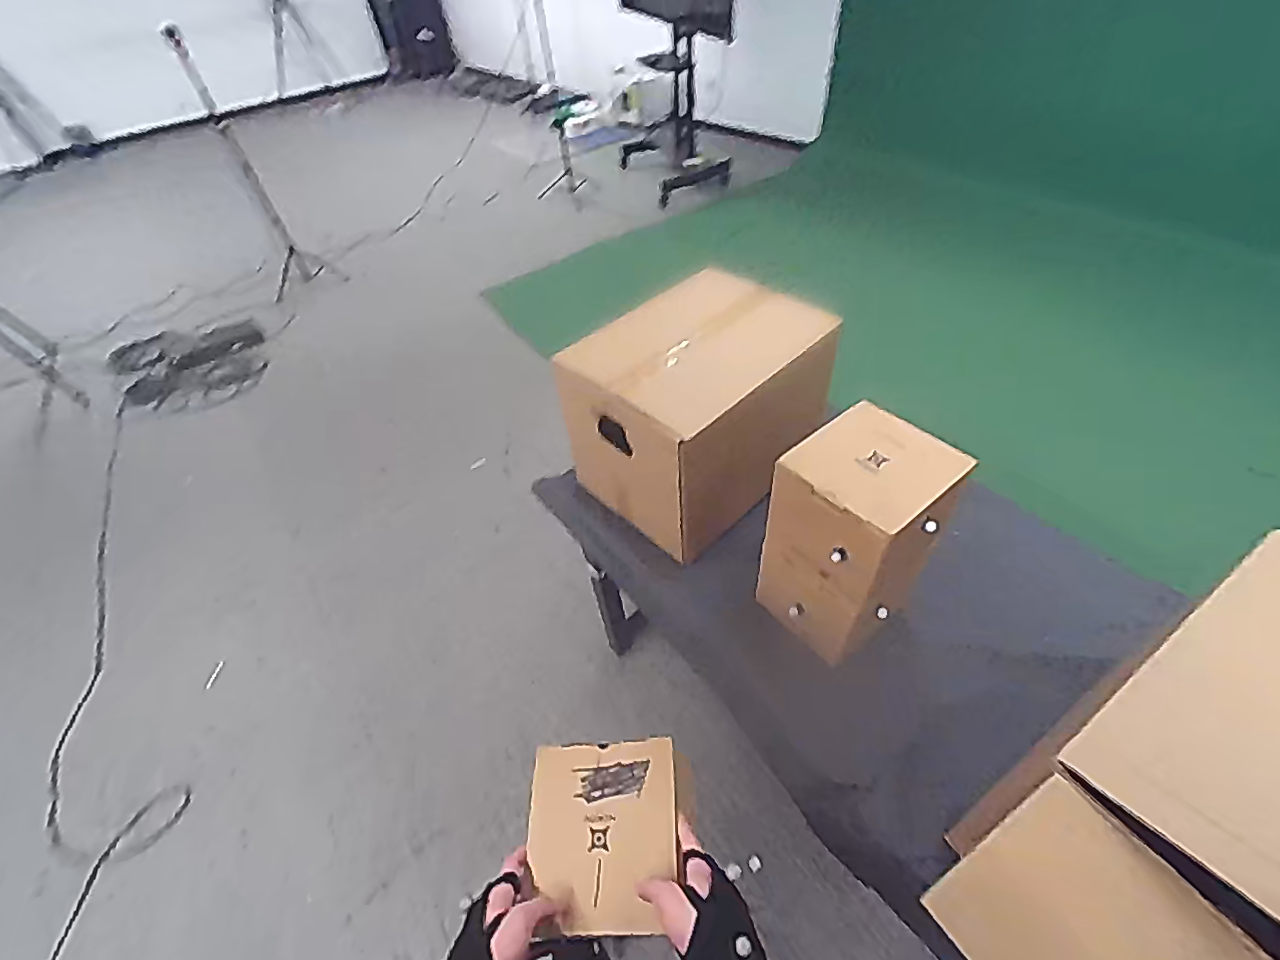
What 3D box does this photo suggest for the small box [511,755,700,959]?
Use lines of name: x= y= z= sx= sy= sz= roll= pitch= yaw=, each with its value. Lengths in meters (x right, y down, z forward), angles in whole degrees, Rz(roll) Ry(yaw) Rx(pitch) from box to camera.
small box: x=-0.027 y=0.431 z=0.617 sx=0.168 sy=0.176 sz=0.179 roll=-8 pitch=50 yaw=10

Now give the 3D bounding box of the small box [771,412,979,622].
small box: x=0.286 y=0.049 z=0.699 sx=0.179 sy=0.176 sz=0.168 roll=-32 pitch=53 yaw=-23
